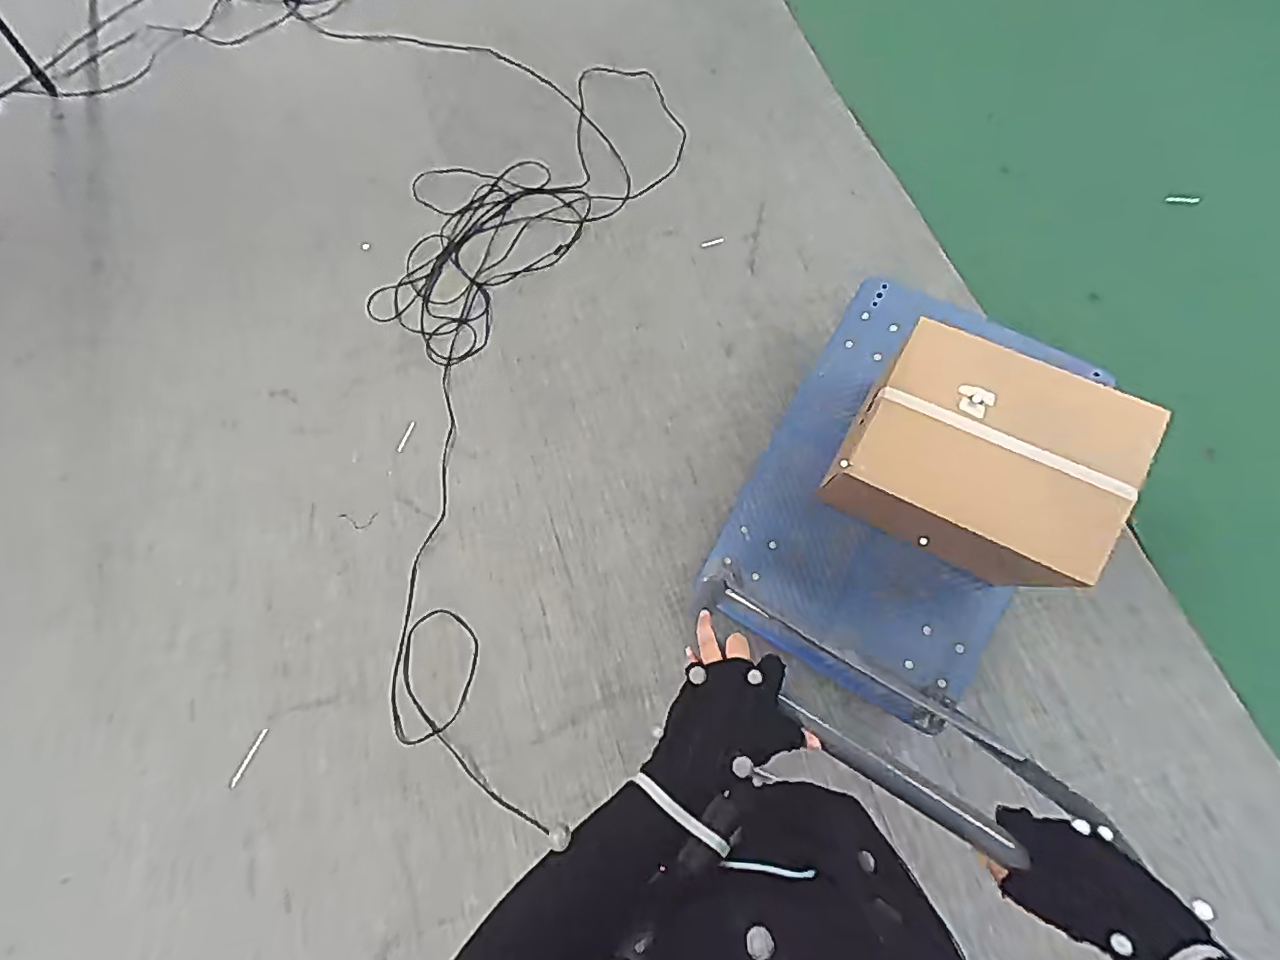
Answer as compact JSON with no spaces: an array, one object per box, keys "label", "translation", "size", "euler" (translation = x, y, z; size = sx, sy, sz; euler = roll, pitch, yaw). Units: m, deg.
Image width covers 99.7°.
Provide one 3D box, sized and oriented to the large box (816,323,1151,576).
[{"label":"large box","translation":[0.610,-0.039,1.046],"size":[0.408,0.320,0.320],"euler":[27,85,14]}]
